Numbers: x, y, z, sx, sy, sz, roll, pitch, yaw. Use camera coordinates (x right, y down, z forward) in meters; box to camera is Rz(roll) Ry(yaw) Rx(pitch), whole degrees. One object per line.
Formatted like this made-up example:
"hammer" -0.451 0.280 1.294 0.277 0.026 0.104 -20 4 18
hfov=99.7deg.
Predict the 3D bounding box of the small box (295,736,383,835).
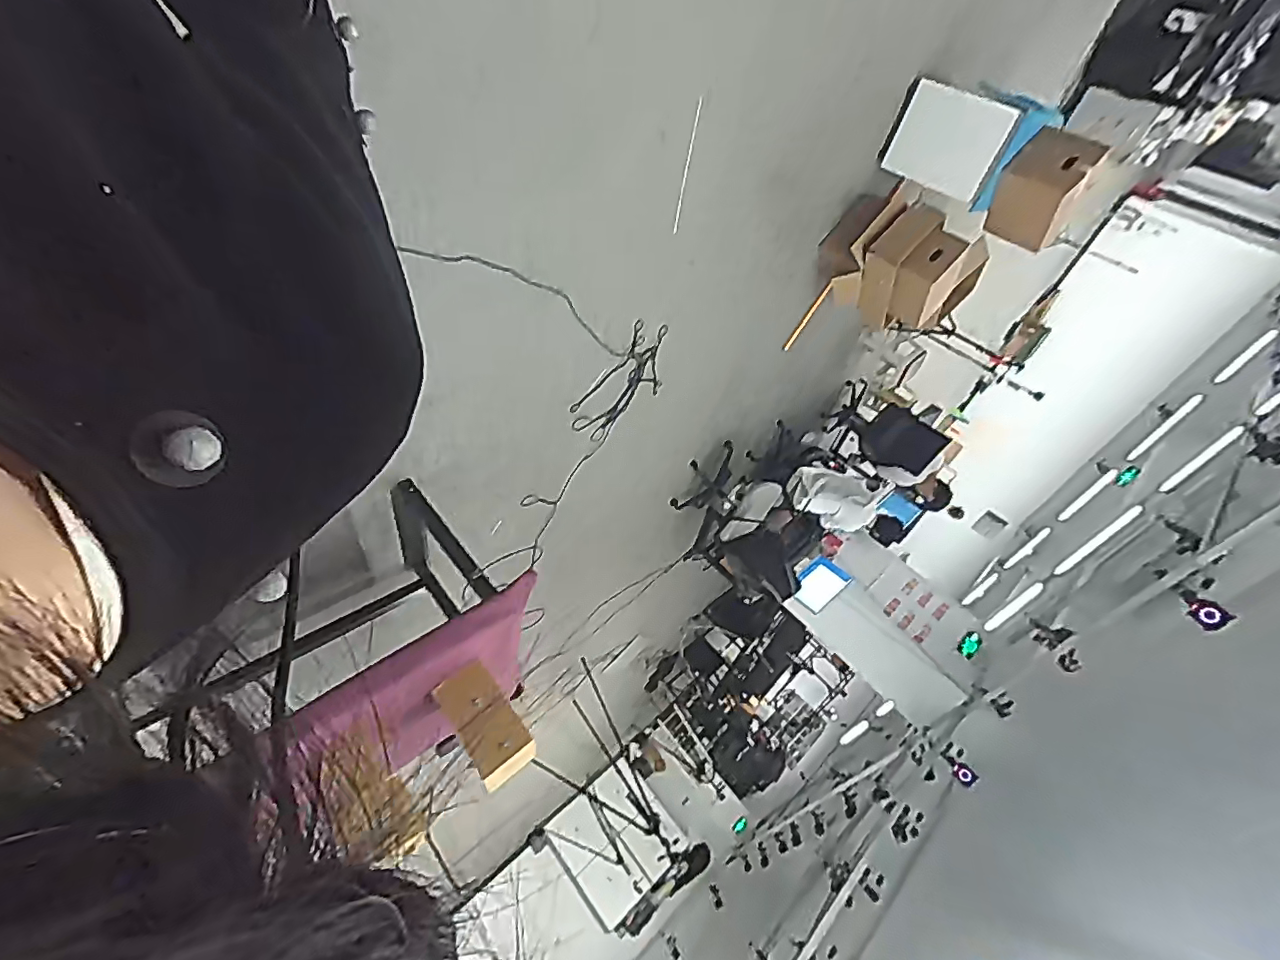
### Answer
"small box" -0.829 0.852 1.508 0.168 0.176 0.179 -27 148 -37

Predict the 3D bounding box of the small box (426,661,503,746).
"small box" -0.558 0.719 1.735 0.179 0.176 0.168 -30 149 -31

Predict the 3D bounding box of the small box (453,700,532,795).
"small box" -0.454 0.817 1.659 0.179 0.176 0.168 -32 149 -30

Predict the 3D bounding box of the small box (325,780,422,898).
"small box" -0.712 0.948 1.442 0.179 0.176 0.168 -18 142 -45
